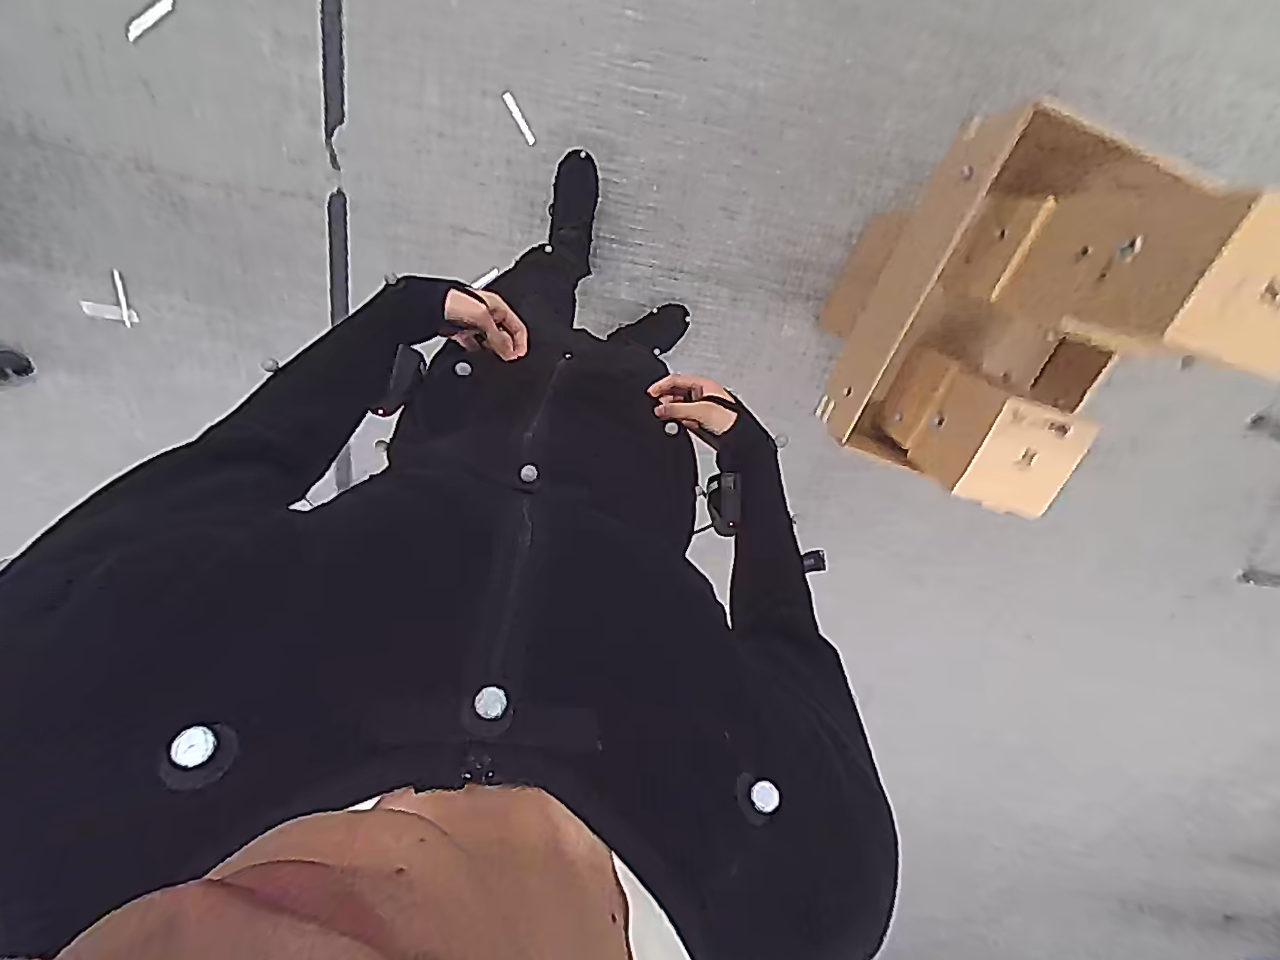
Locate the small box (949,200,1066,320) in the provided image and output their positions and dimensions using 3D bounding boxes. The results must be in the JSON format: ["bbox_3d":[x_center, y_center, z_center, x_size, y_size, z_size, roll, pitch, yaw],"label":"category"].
[{"bbox_3d":[0.700,-0.381,0.965,0.179,0.176,0.168,17,116,-8],"label":"small box"}]

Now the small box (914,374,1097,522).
[{"bbox_3d":[0.608,-0.060,0.934,0.168,0.176,0.179,17,115,-7],"label":"small box"}]

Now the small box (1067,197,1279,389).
[{"bbox_3d":[0.704,-0.235,0.671,0.179,0.176,0.168,16,114,-8],"label":"small box"}]

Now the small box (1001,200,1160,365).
[{"bbox_3d":[0.704,-0.302,0.820,0.168,0.176,0.179,19,115,-8],"label":"small box"}]
